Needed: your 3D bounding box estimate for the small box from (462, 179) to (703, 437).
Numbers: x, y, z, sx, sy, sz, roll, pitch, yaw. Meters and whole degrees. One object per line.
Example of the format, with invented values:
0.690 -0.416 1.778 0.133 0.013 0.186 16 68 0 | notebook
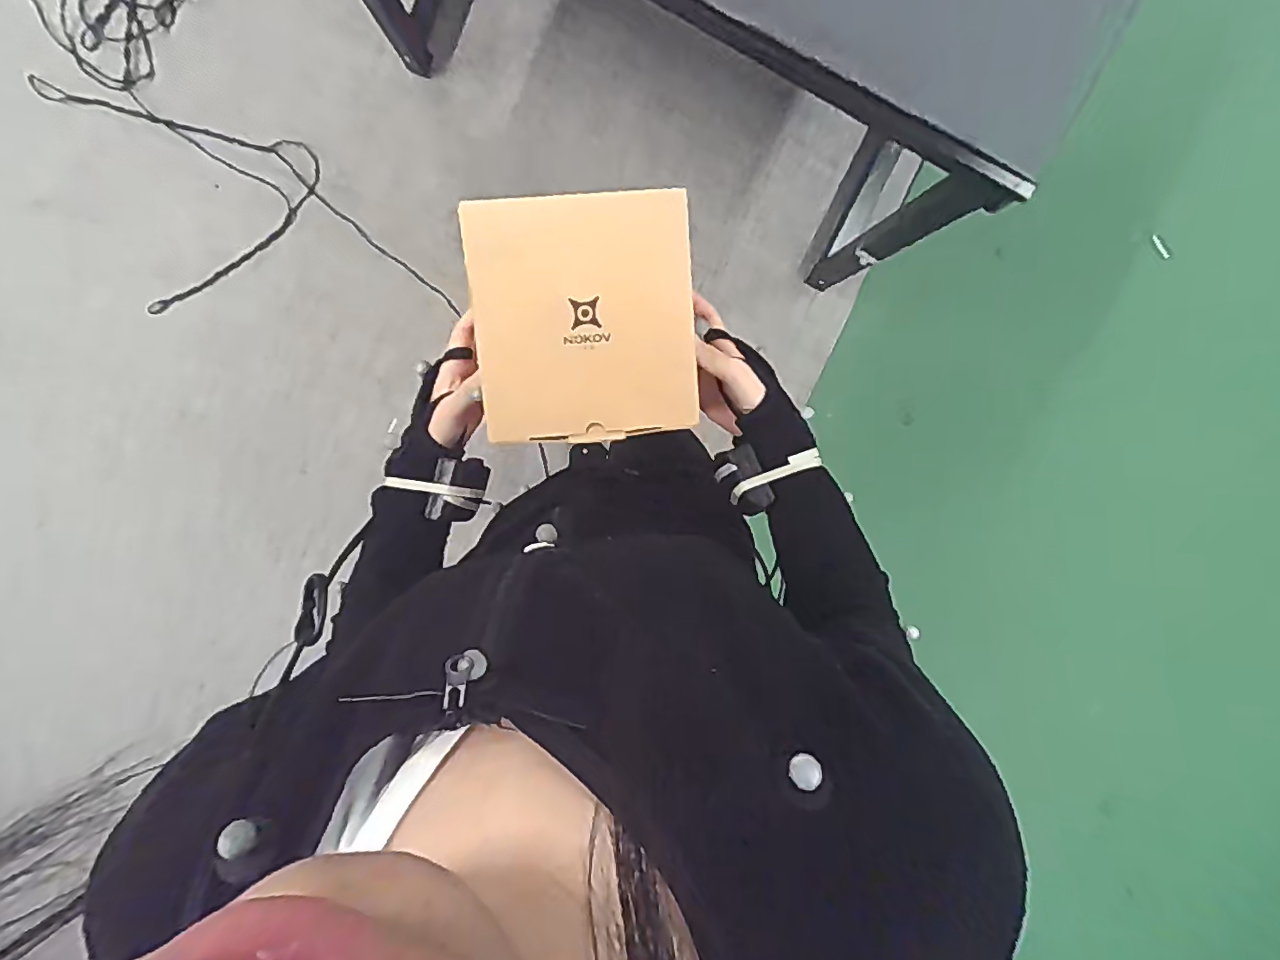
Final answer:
-0.046 -0.137 0.474 0.168 0.176 0.179 -6 101 -4 | small box
